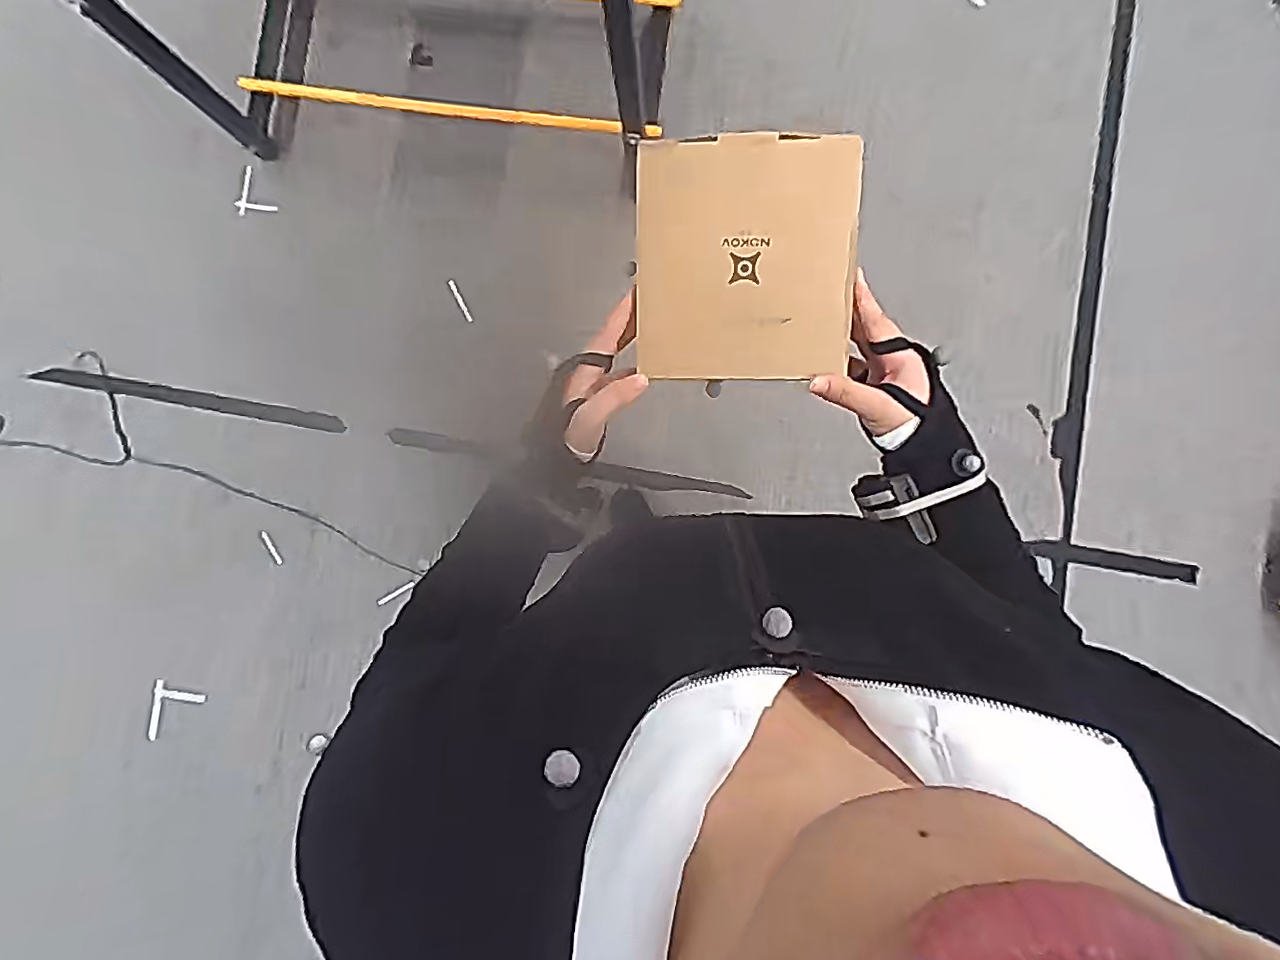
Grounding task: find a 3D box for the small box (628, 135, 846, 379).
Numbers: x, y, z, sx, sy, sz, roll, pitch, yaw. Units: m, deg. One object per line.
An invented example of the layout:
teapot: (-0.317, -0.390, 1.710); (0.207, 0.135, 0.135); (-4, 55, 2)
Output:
small box: (0.077, -0.183, 0.496); (0.168, 0.176, 0.179); (0, 101, 4)
